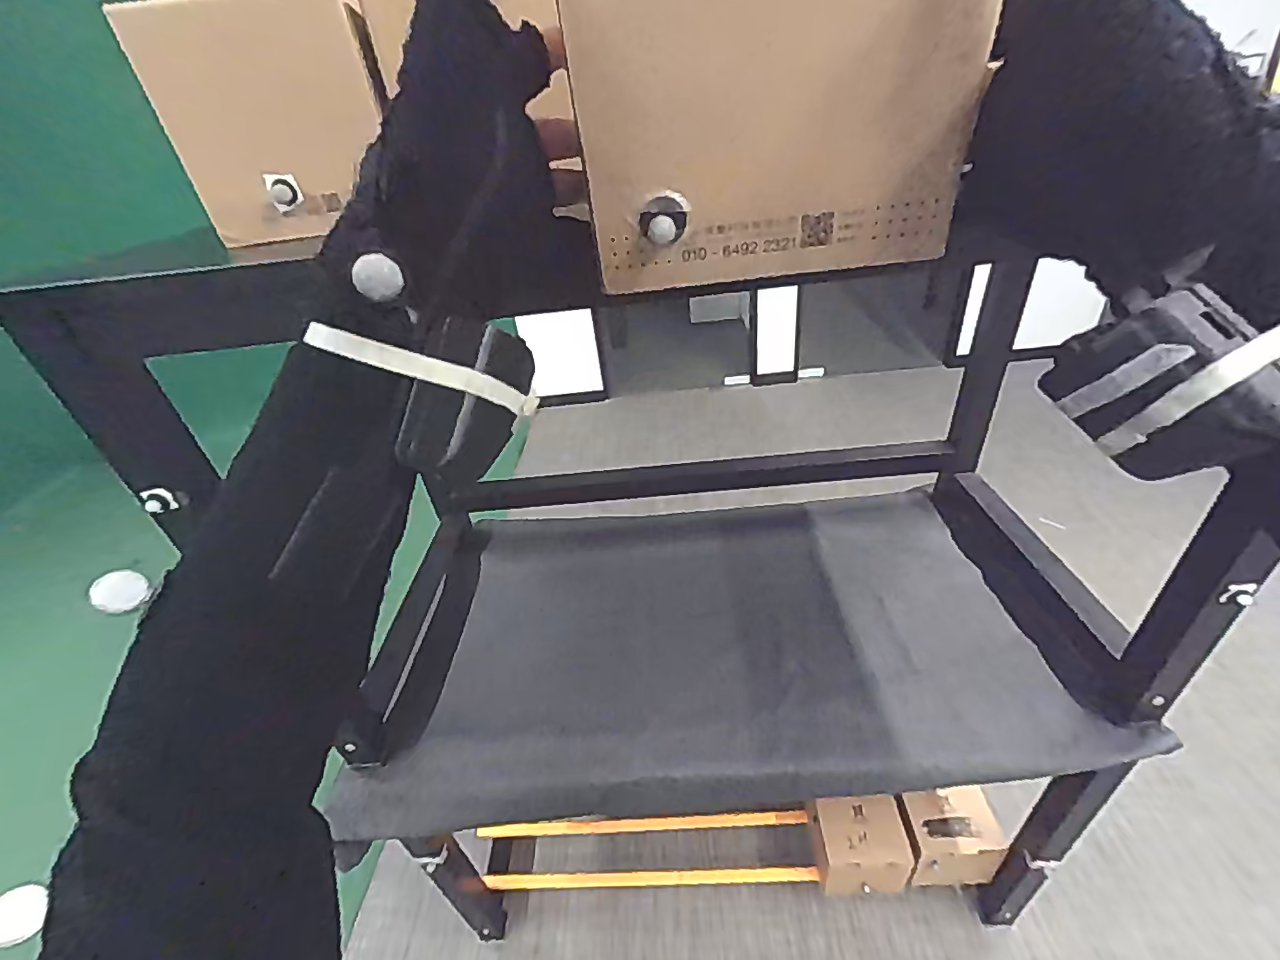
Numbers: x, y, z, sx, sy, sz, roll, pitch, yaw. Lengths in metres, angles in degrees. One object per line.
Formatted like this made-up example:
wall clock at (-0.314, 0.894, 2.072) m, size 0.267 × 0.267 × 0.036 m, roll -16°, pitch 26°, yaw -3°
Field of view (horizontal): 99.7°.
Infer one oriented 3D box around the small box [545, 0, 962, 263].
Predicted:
small box at (0.049, -0.221, 0.281) m, size 0.168 × 0.176 × 0.179 m, roll -5°, pitch 38°, yaw 5°
